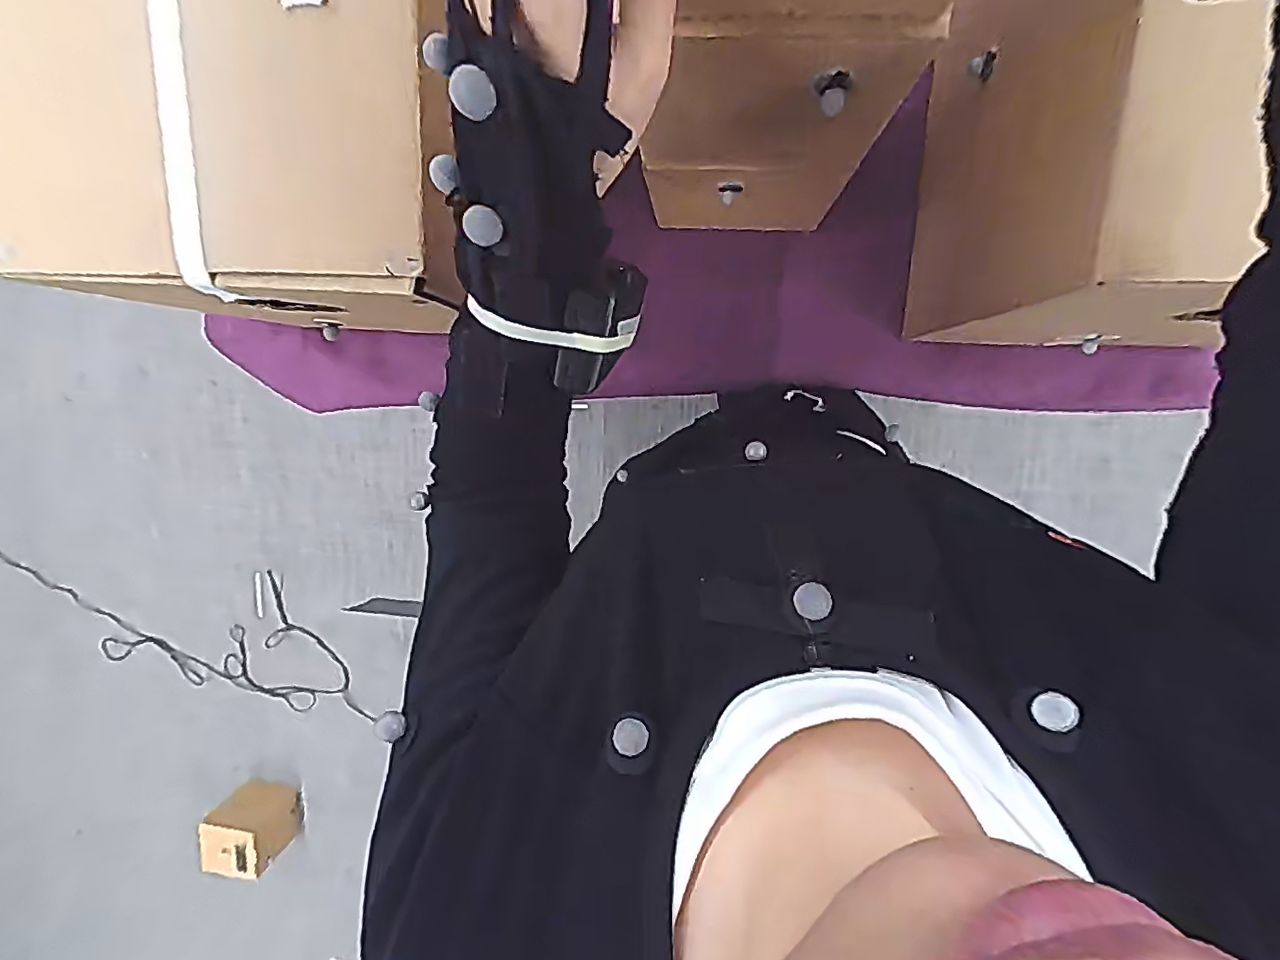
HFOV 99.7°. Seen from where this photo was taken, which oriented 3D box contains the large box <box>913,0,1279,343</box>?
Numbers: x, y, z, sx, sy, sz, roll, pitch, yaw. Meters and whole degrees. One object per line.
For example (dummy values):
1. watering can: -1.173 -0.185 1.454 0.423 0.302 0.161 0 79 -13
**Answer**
1. large box: 0.427 -0.323 0.399 0.320 0.320 0.408 2 98 6
